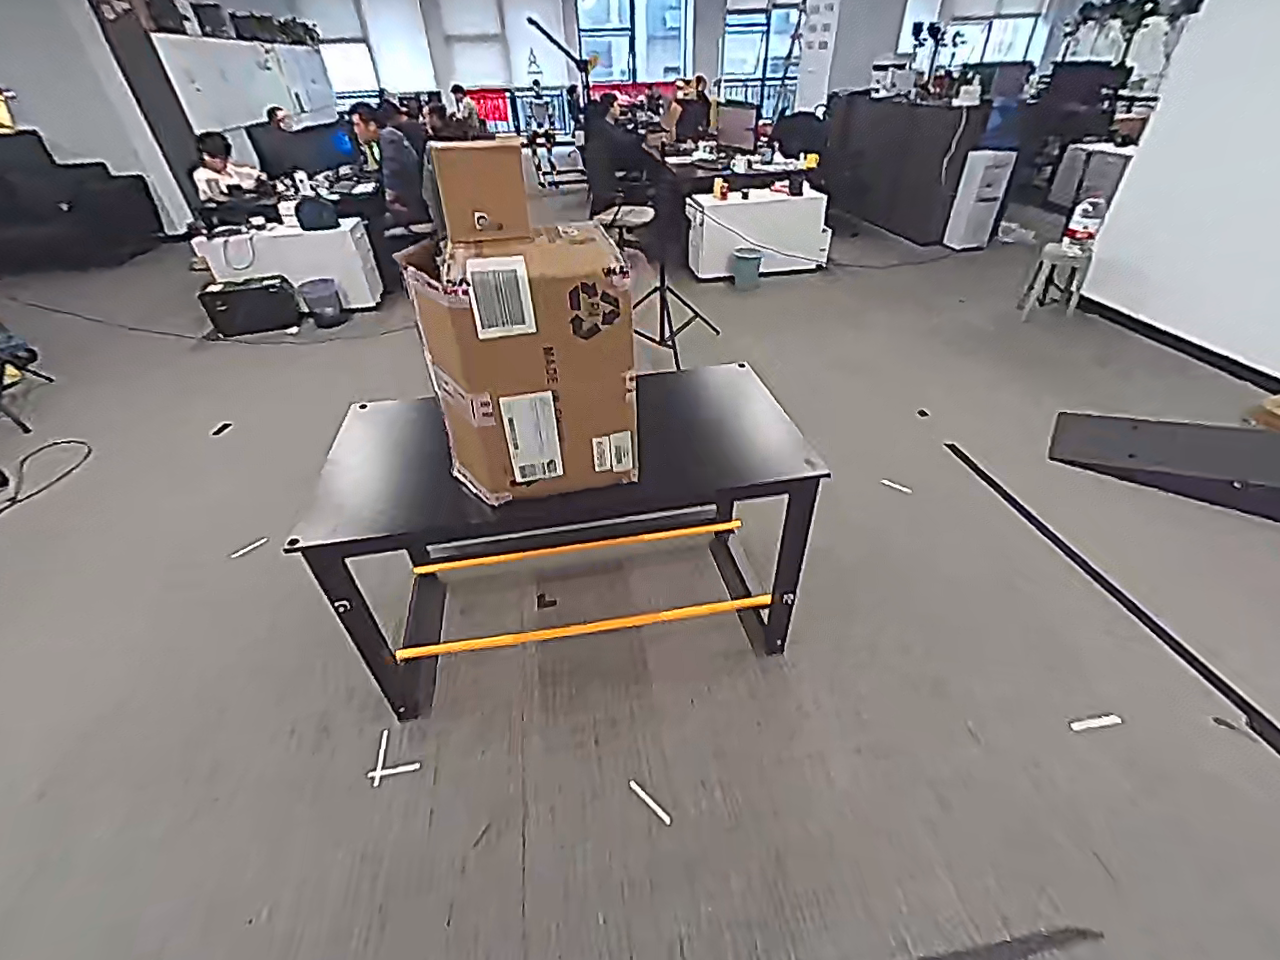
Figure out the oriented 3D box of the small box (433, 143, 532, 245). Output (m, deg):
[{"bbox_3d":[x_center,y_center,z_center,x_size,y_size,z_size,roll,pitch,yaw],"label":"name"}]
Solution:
[{"bbox_3d":[-0.325,-0.594,1.123,0.168,0.176,0.179,-11,37,-12],"label":"small box"}]
